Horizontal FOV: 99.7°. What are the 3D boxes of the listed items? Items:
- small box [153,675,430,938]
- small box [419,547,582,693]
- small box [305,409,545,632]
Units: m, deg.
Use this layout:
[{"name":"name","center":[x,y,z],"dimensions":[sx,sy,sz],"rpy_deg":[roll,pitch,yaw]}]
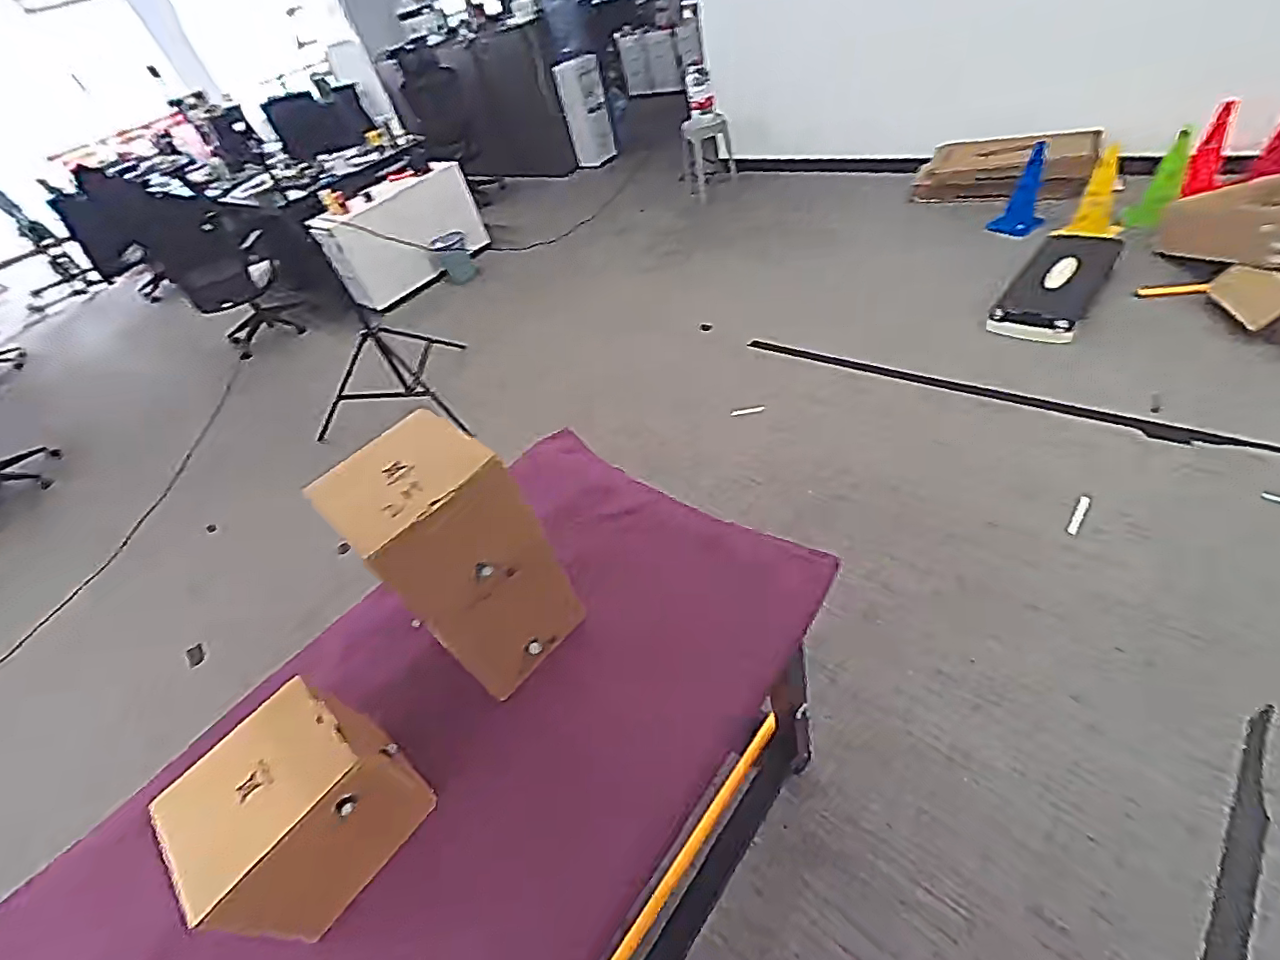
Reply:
[{"name":"small box","center":[-0.380,0.368,0.612],"dimensions":[0.168,0.176,0.179],"rpy_deg":[24,57,35]},{"name":"small box","center":[-0.211,0.163,0.758],"dimensions":[0.179,0.176,0.168],"rpy_deg":[28,60,36]},{"name":"small box","center":[-0.246,0.048,0.645],"dimensions":[0.179,0.176,0.168],"rpy_deg":[28,61,36]}]
